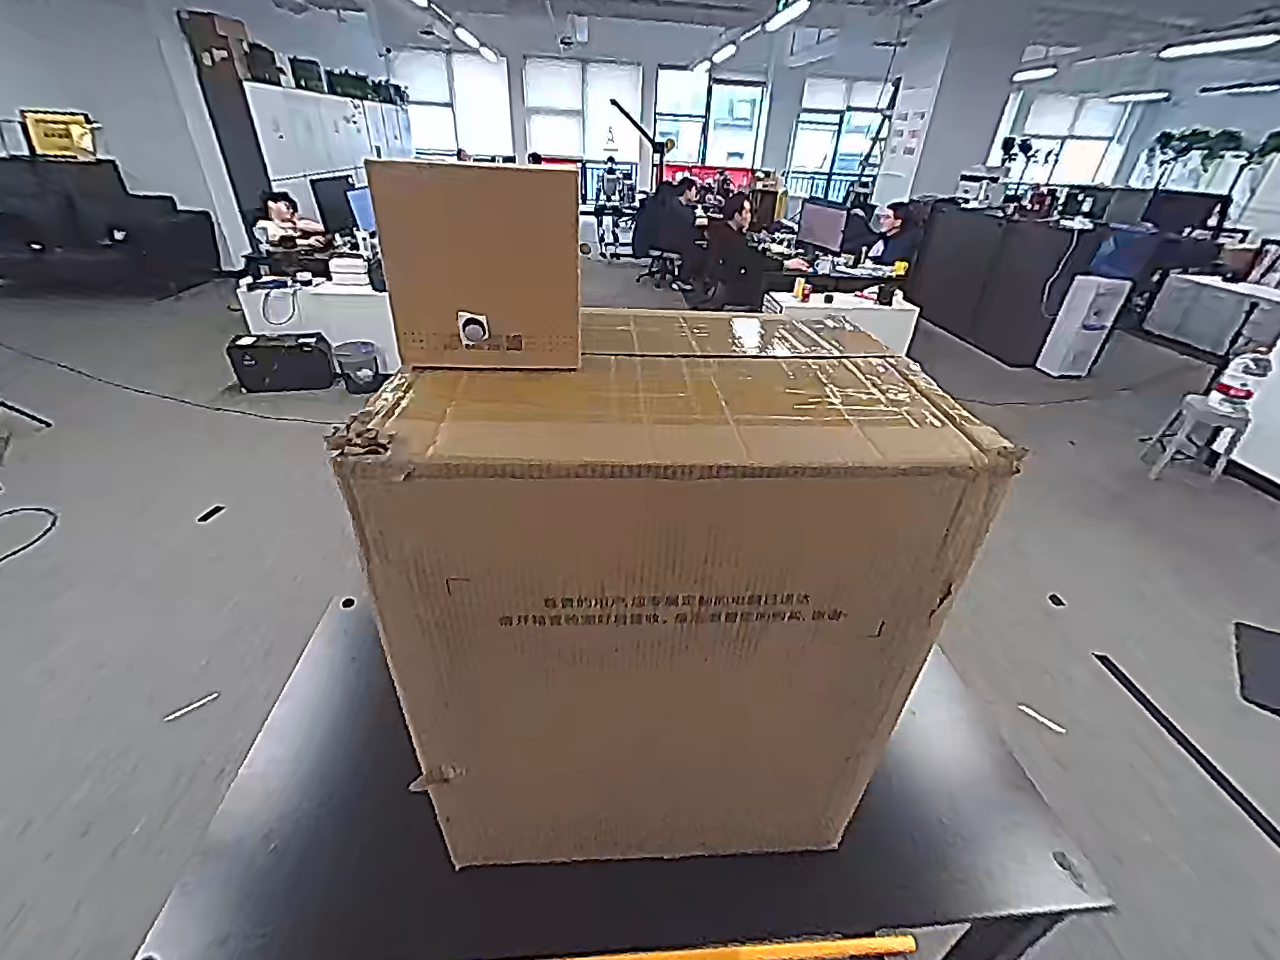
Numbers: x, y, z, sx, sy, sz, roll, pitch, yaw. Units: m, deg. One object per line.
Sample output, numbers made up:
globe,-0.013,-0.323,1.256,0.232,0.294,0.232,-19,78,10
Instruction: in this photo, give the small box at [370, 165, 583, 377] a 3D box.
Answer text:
small box,-0.143,-0.210,0.537,0.168,0.176,0.179,-3,32,-8
